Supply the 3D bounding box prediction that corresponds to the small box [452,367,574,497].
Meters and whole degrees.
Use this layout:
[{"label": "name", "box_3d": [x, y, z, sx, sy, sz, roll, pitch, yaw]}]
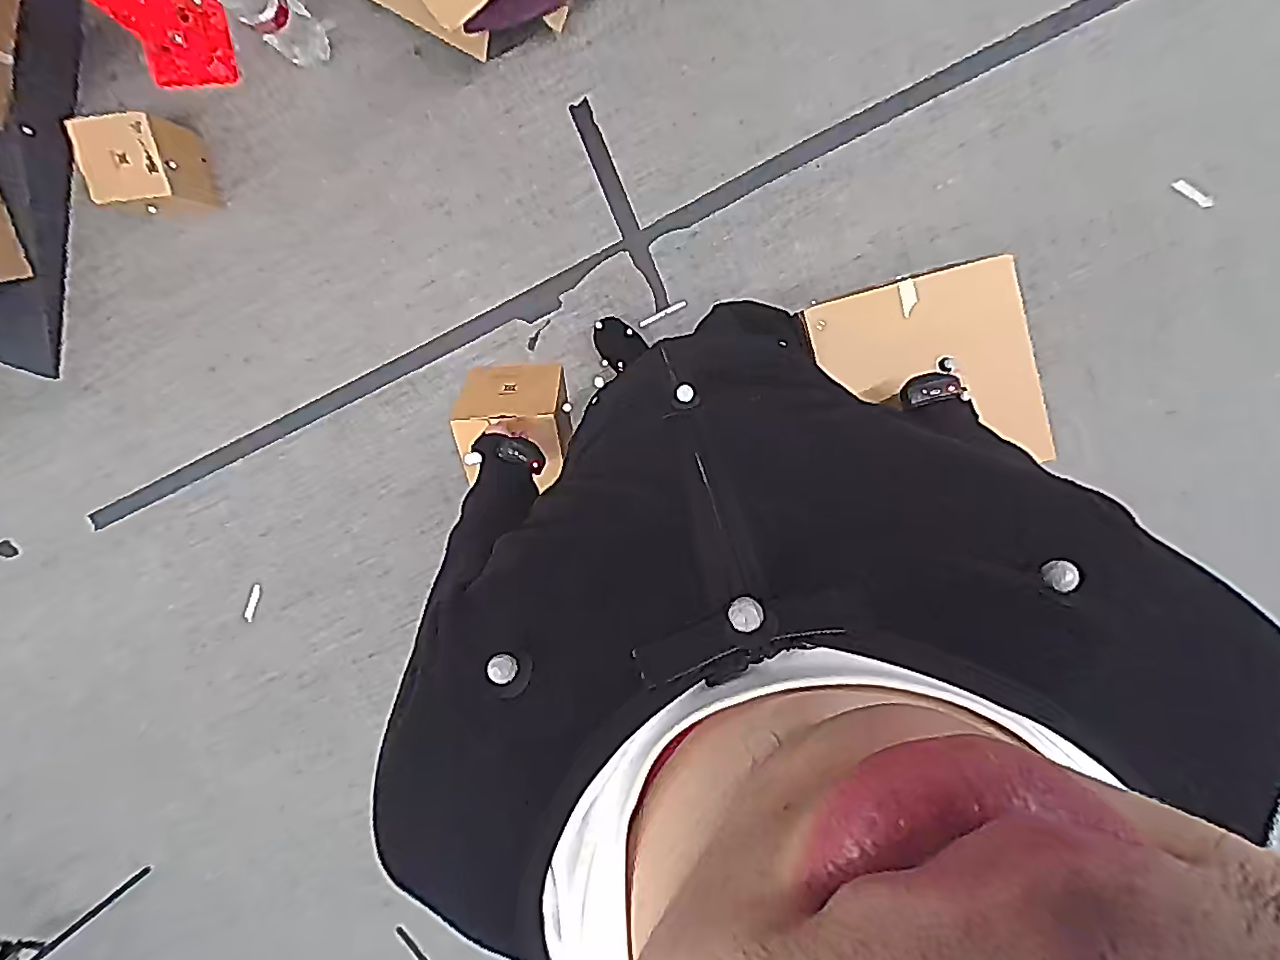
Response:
[{"label": "small box", "box_3d": [-0.210, -0.081, 0.953, 0.168, 0.179, 0.176, -3, 128, 0]}]
